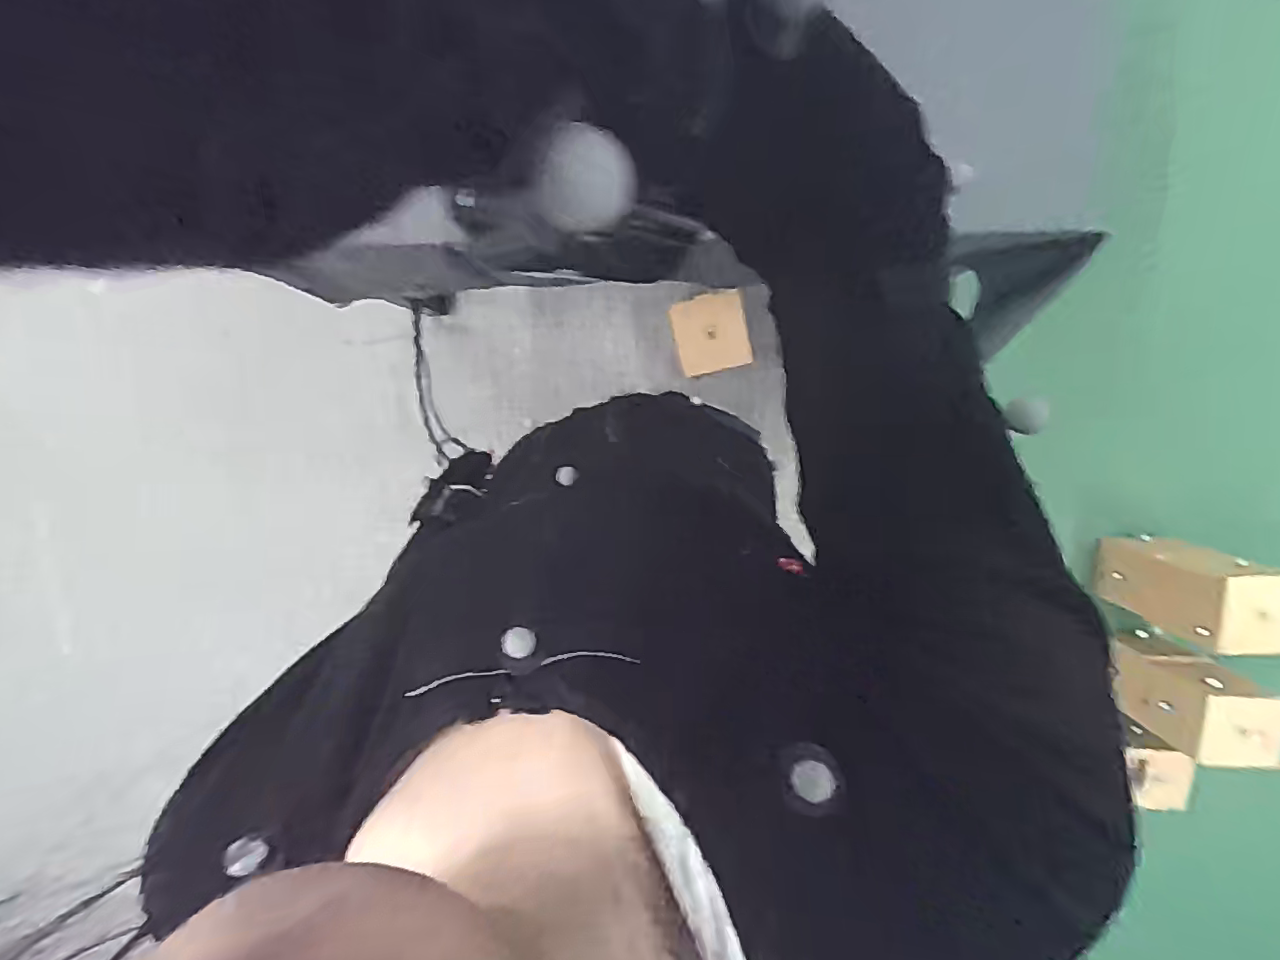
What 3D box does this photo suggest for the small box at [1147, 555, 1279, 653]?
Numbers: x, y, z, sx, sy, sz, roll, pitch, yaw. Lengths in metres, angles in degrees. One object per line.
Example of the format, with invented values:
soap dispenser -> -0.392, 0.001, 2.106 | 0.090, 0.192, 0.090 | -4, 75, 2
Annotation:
small box -> 1.325, 0.276, 1.242 | 0.168, 0.176, 0.179 | -2, 99, 2

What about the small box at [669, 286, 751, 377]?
small box -> 0.167, -0.360, 1.339 | 0.168, 0.176, 0.179 | -12, 98, 4

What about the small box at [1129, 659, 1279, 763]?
small box -> 1.326, 0.540, 1.284 | 0.179, 0.176, 0.168 | 1, 100, 1
